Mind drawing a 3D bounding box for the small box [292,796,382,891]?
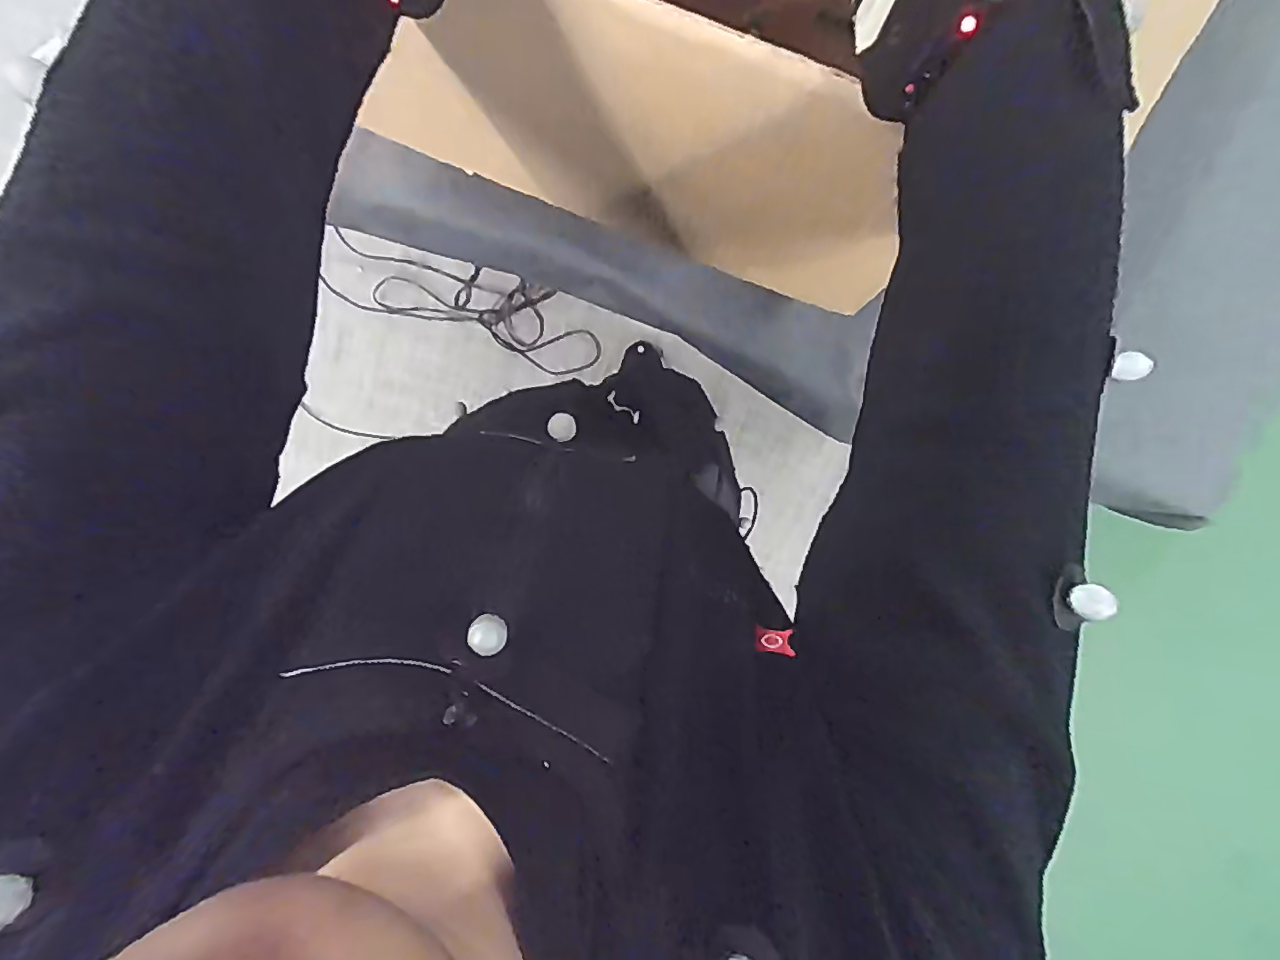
[{"bbox_3d":[-0.964,1.152,1.727,0.179,0.176,0.168,20,107,-3],"label":"small box"}]
